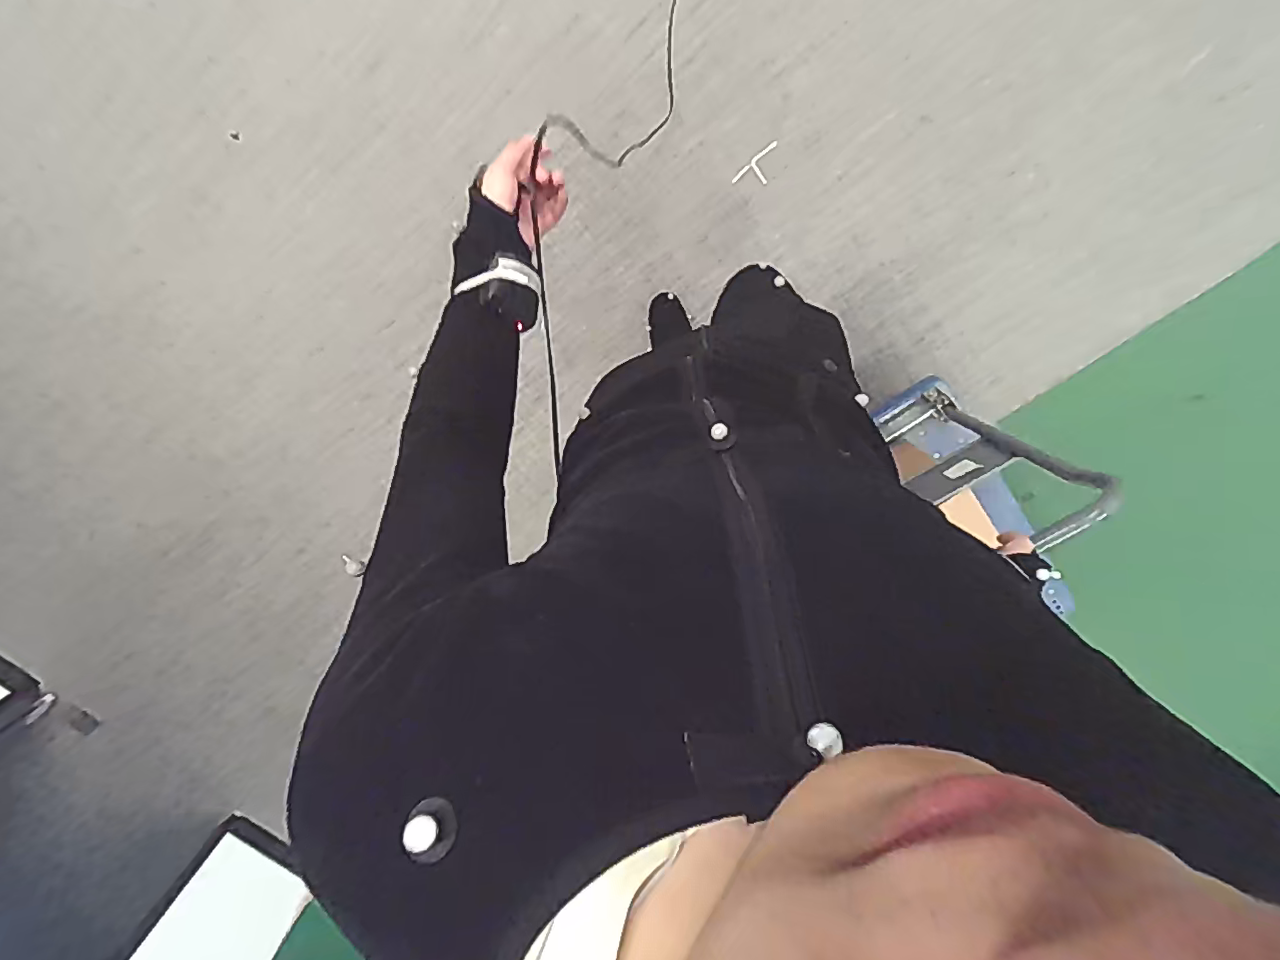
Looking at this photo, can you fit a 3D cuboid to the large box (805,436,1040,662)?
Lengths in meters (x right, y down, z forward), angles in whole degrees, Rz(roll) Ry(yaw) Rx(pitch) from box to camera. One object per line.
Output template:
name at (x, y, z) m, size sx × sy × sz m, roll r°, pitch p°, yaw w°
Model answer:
large box at (0.688, 0.164, 1.372) m, size 0.320 × 0.320 × 0.408 m, roll -36°, pitch 108°, yaw 16°
